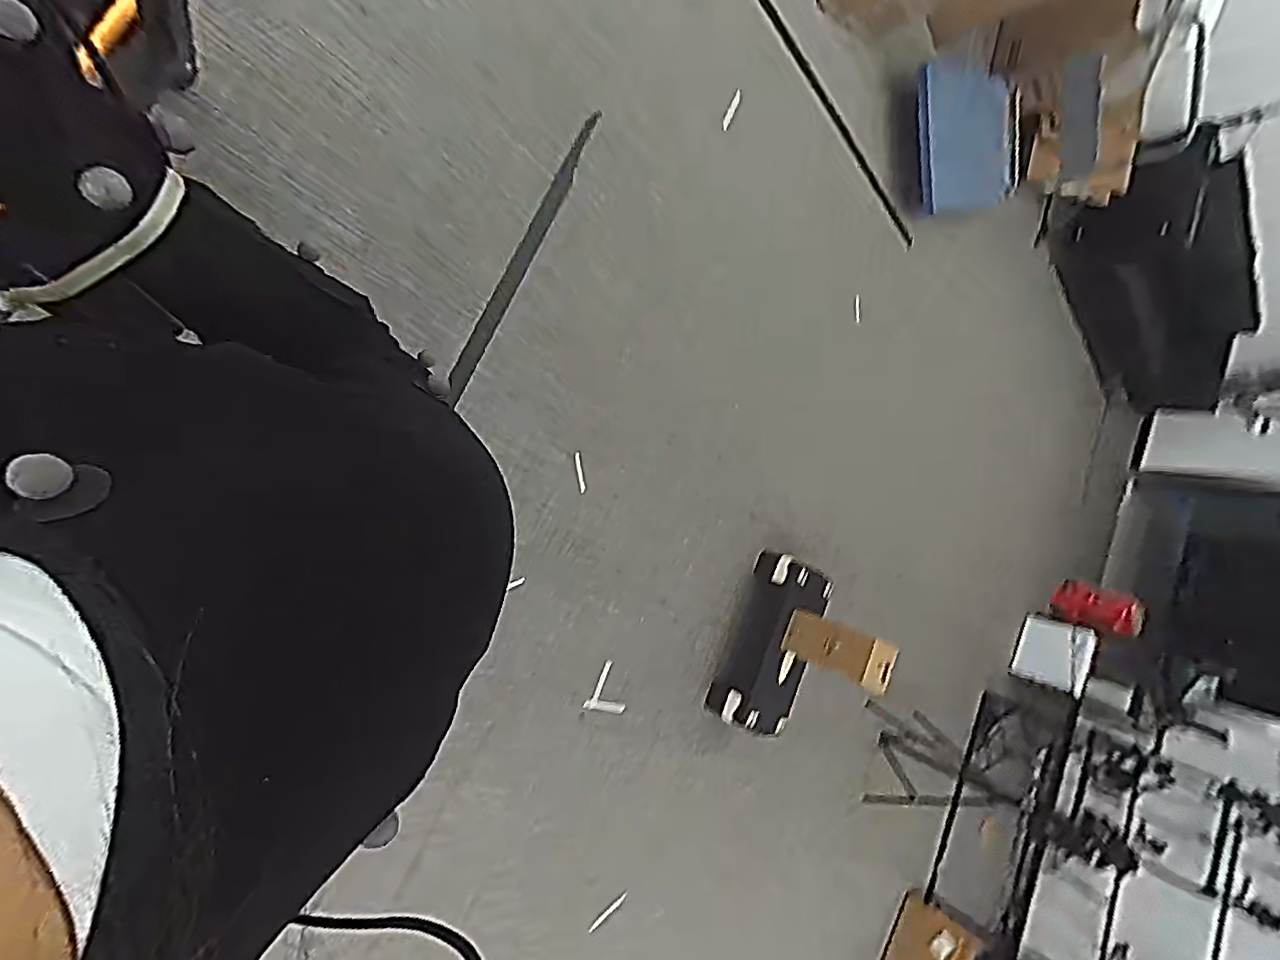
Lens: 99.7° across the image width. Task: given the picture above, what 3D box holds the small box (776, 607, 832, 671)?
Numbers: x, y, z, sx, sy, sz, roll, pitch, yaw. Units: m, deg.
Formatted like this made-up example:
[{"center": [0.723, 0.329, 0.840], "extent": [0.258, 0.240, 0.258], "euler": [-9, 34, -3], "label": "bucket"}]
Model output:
[{"center": [0.648, 0.599, 2.048], "extent": [0.179, 0.176, 0.168], "euler": [32, 76, -36], "label": "small box"}]

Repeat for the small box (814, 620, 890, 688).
[{"center": [0.752, 0.615, 1.922], "extent": [0.179, 0.176, 0.168], "euler": [31, 77, -36], "label": "small box"}]

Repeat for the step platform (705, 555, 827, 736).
[{"center": [0.522, 0.663, 2.179], "extent": [0.286, 0.204, 0.684], "euler": [30, 77, -37], "label": "step platform"}]
